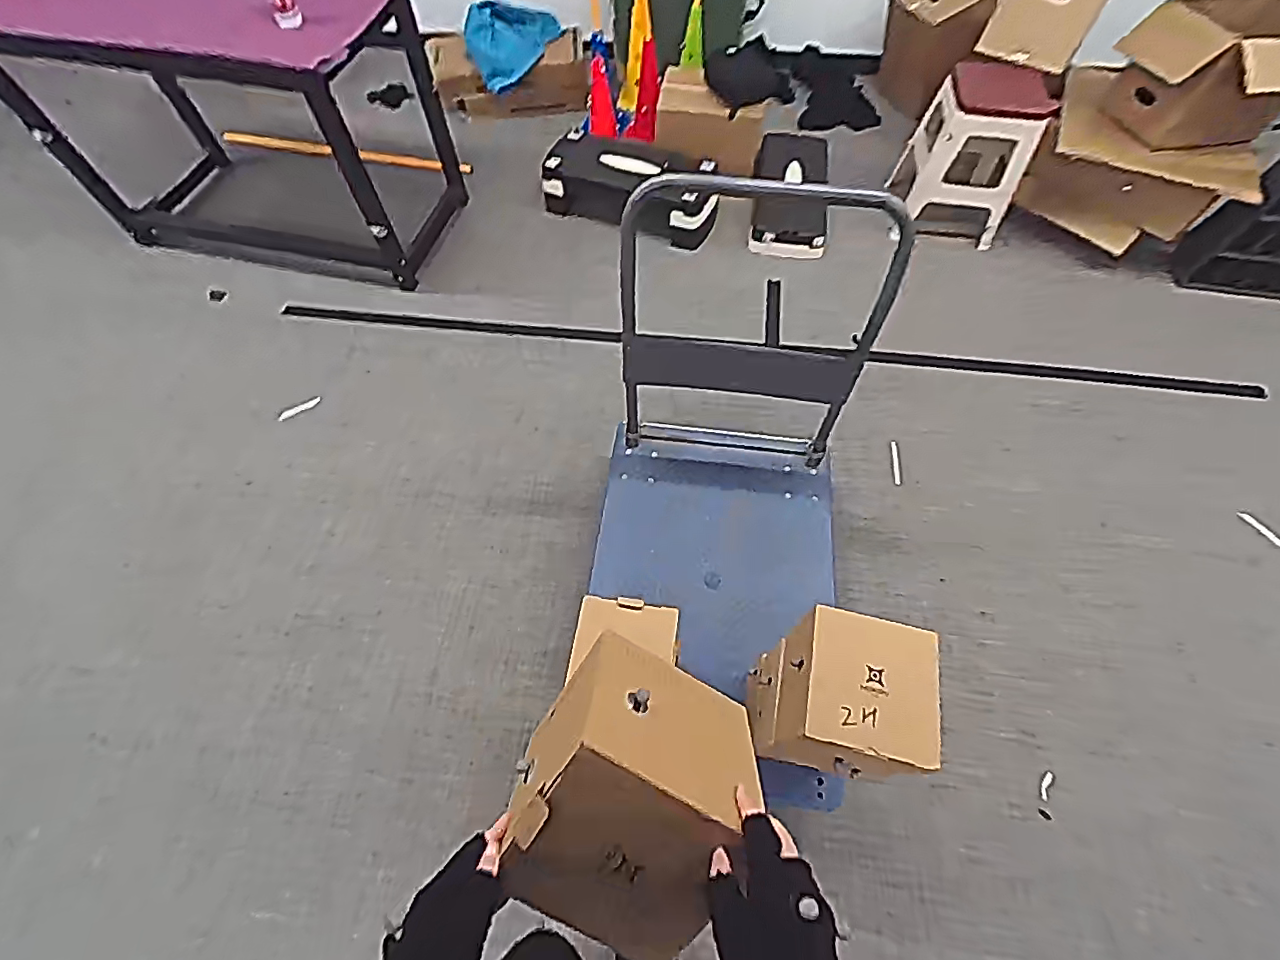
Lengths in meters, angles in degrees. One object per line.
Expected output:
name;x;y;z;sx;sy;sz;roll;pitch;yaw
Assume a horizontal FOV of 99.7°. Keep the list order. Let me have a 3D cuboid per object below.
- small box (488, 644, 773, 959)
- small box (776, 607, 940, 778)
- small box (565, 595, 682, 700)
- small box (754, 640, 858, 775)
small box;-0.007;0.285;0.510;0.179;0.176;0.168;32;104;-5
small box;0.300;0.304;0.766;0.168;0.176;0.179;13;62;7
small box;-0.025;0.322;0.942;0.168;0.176;0.179;8;60;5
small box;0.298;0.387;0.908;0.179;0.176;0.168;12;62;6
